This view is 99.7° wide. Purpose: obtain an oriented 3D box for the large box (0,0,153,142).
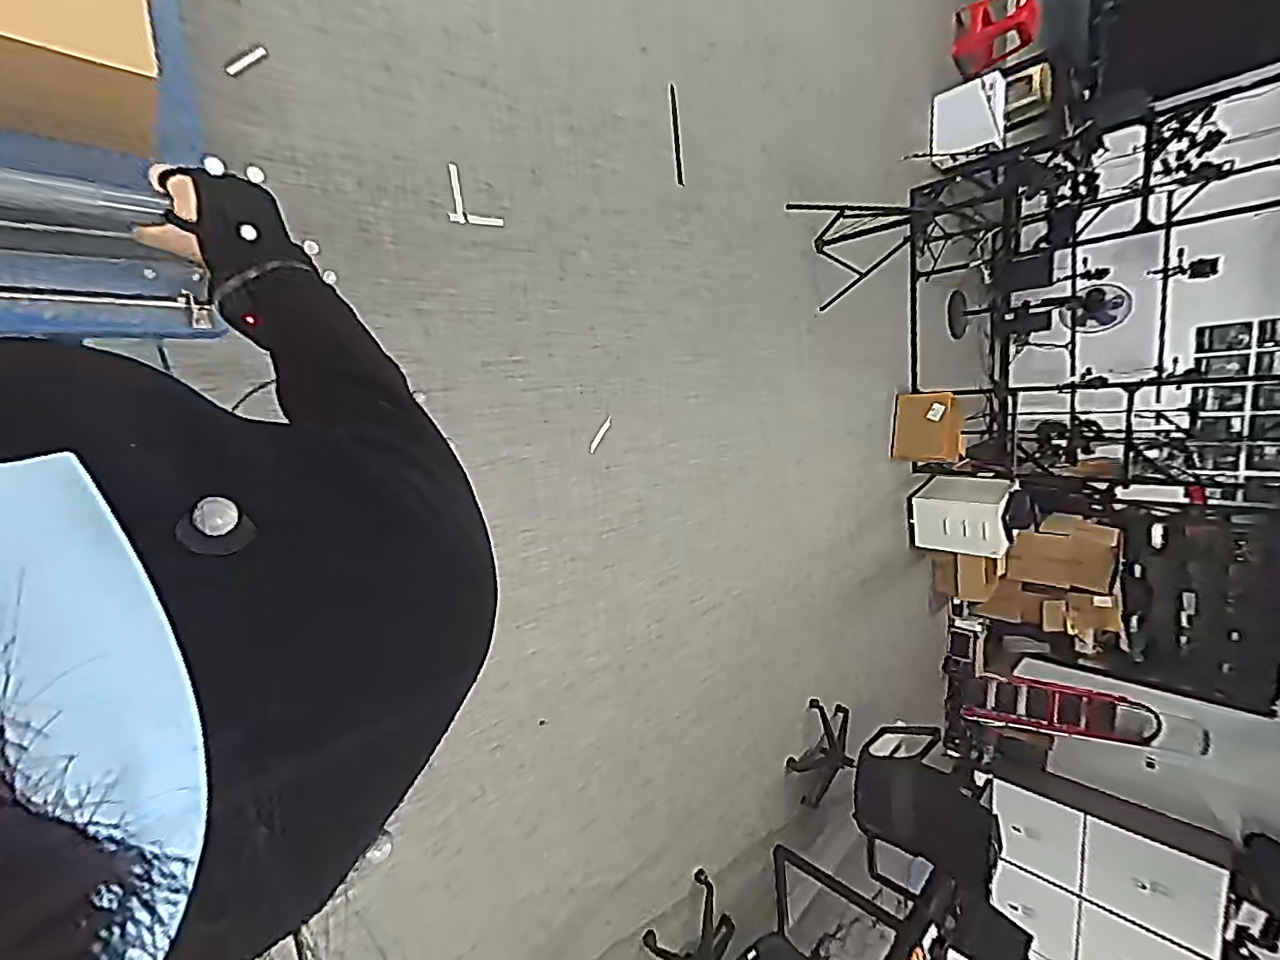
[{"bbox_3d":[-0.953,-0.720,0.726,0.408,0.320,0.320,-11,100,-42],"label":"large box"}]
